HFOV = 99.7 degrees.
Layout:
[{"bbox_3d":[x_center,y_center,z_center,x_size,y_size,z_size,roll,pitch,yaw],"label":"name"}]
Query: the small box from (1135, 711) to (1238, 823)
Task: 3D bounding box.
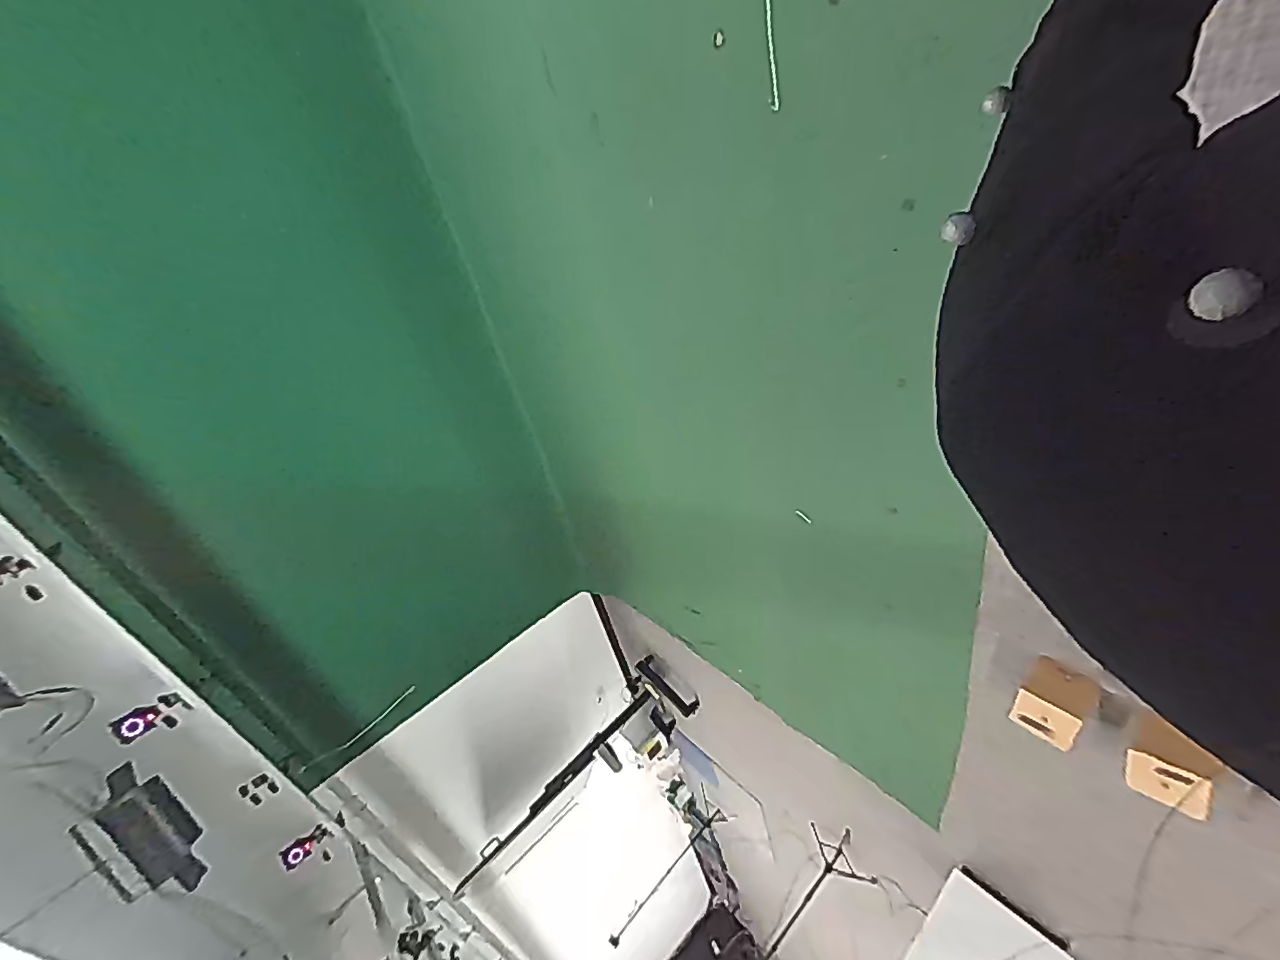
[{"bbox_3d":[1.506,0.780,1.491,0.168,0.176,0.179,16,133,53],"label":"small box"}]
